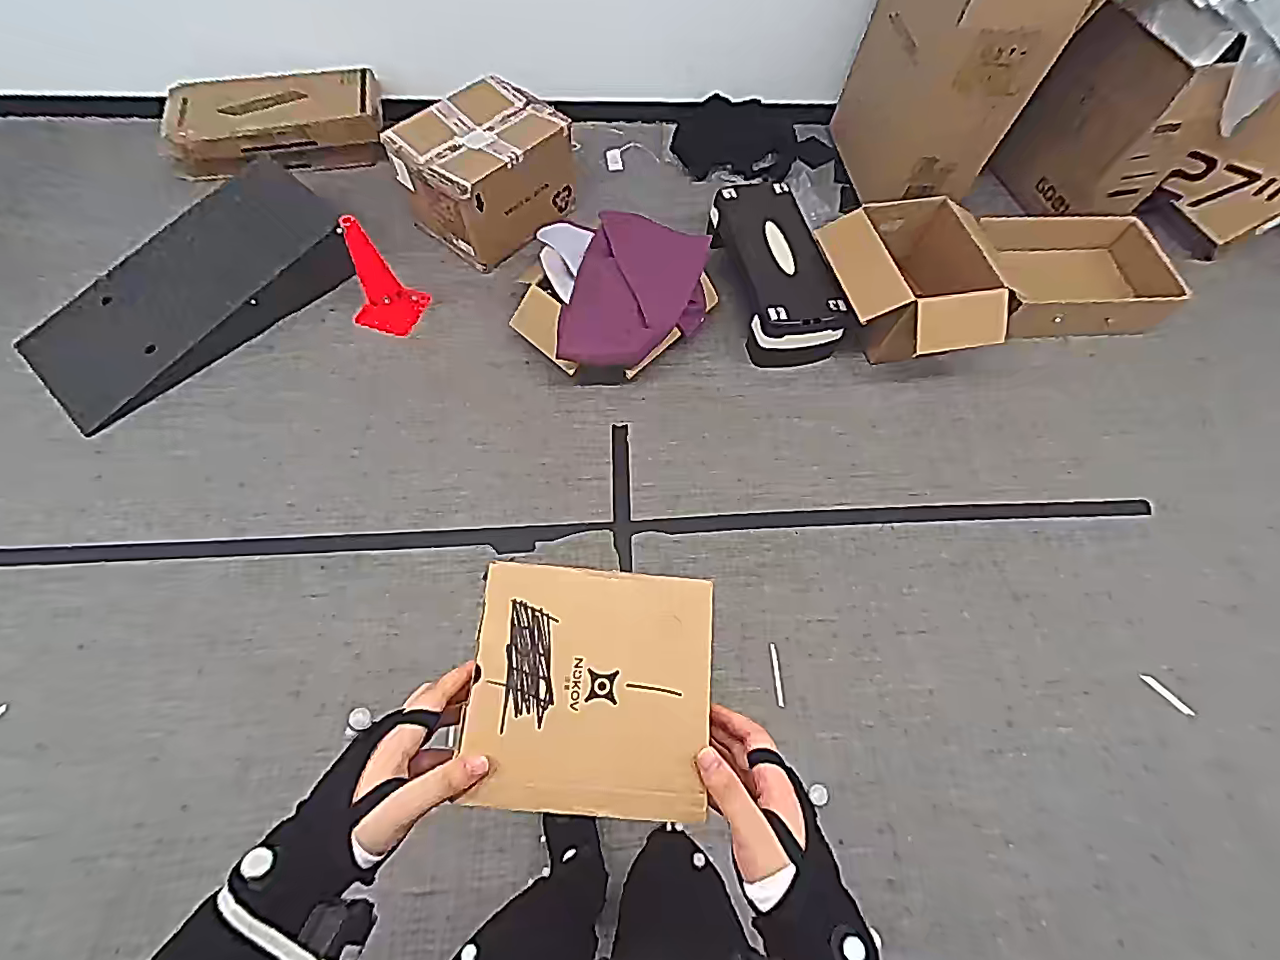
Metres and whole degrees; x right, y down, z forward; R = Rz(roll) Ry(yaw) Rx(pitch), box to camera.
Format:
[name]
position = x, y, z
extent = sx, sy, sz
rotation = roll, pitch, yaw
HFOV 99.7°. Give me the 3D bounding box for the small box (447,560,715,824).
[small box]
position = -0.038, 0.174, 0.459
extent = 0.179, 0.176, 0.168
rotation = 5, 69, -1
